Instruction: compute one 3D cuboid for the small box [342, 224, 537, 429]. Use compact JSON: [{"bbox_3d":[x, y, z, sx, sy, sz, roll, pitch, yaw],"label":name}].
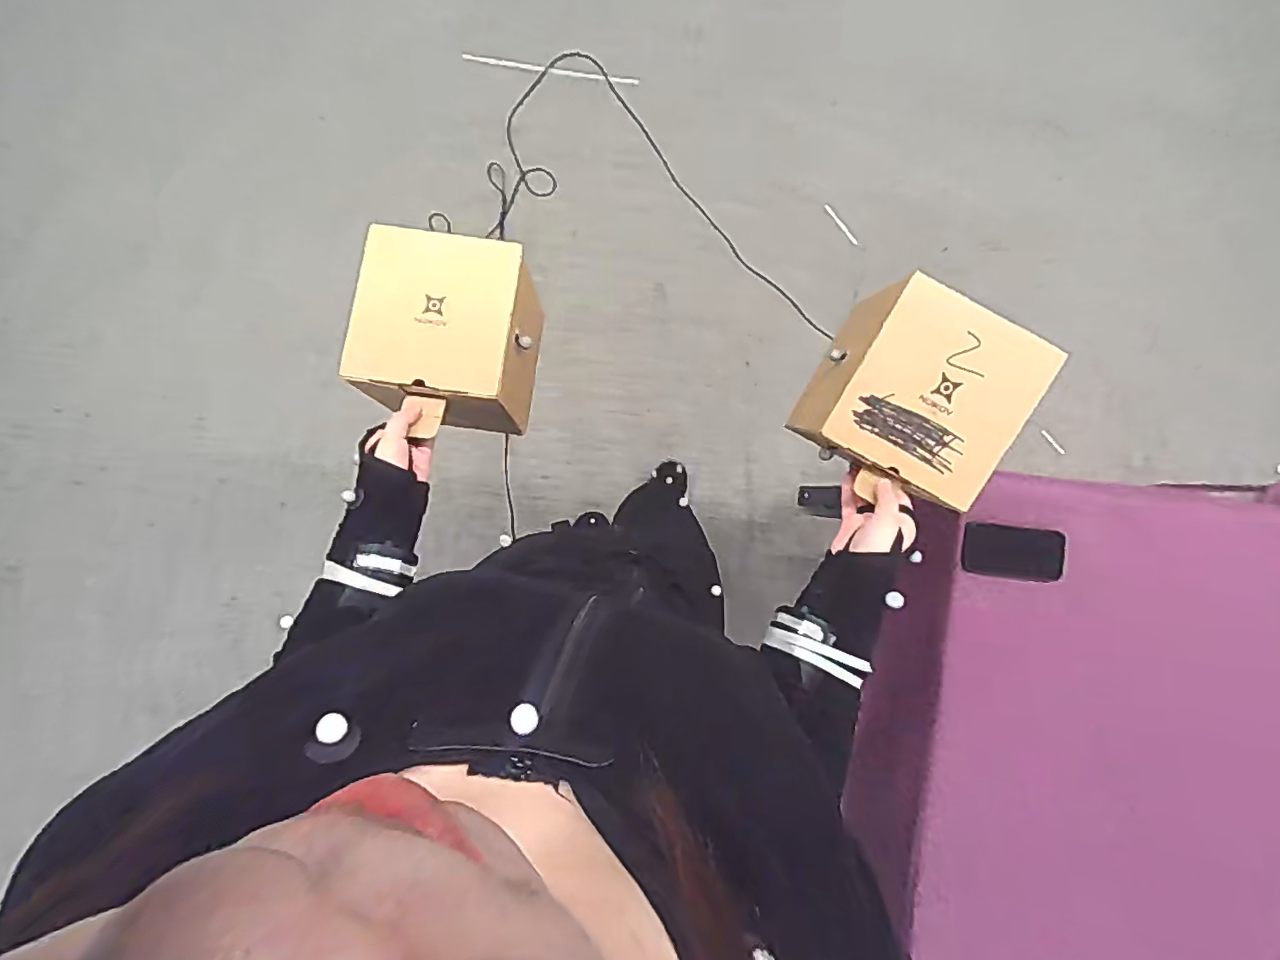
[{"bbox_3d":[-0.225,-0.173,0.657,0.168,0.176,0.179,7,82,-2],"label":"small box"}]
